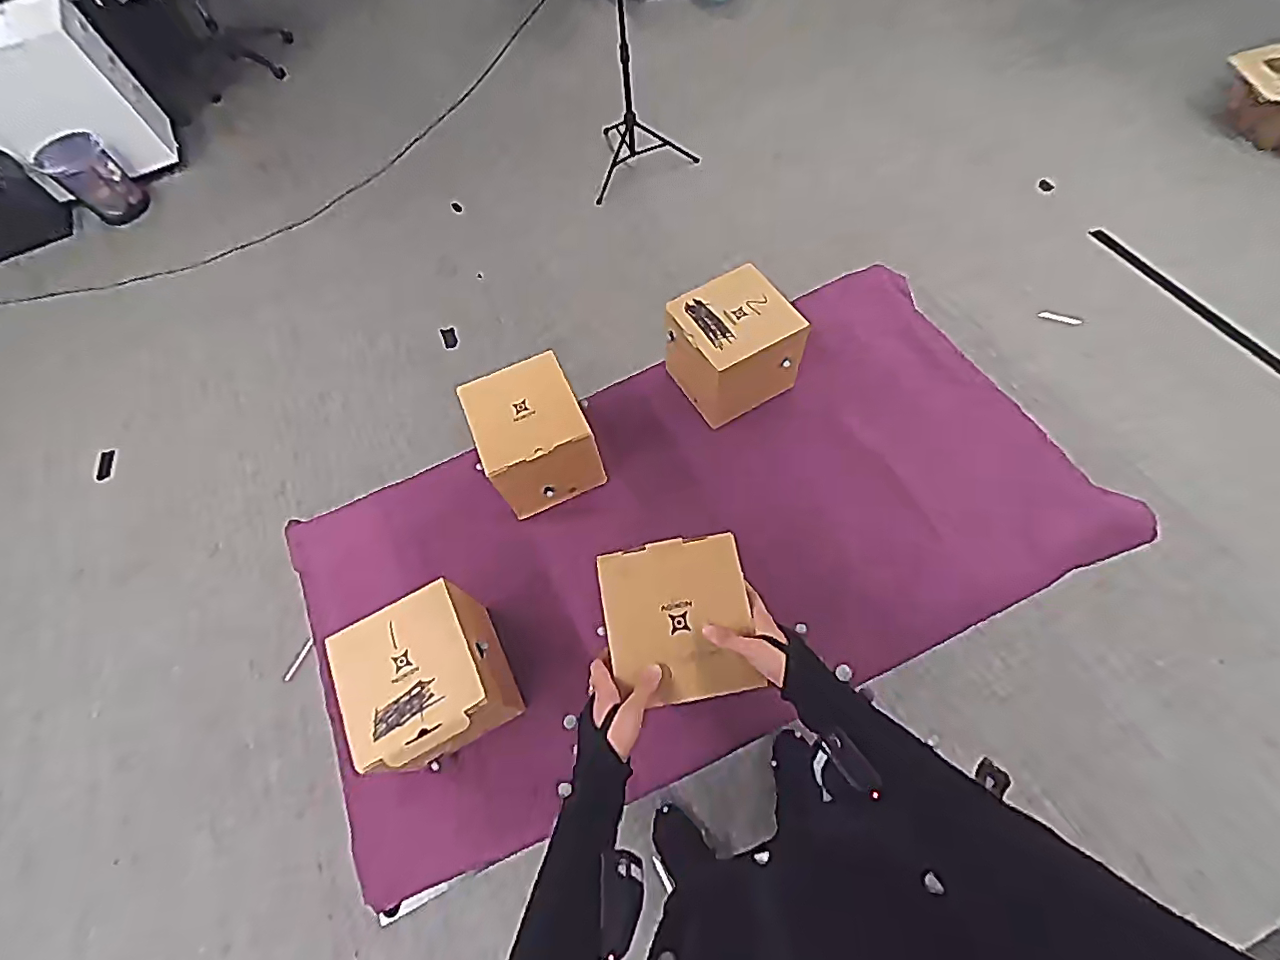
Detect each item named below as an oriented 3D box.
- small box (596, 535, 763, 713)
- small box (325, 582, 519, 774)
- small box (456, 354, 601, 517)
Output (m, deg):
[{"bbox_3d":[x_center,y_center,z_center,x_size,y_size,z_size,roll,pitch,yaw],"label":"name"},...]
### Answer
[{"bbox_3d":[0.042,0.183,0.683,0.168,0.176,0.179,-10,72,-1],"label":"small box"},{"bbox_3d":[-0.286,0.271,0.739,0.168,0.176,0.179,-28,63,-9],"label":"small box"},{"bbox_3d":[-0.177,-0.068,0.893,0.168,0.176,0.179,-24,65,-7],"label":"small box"}]
